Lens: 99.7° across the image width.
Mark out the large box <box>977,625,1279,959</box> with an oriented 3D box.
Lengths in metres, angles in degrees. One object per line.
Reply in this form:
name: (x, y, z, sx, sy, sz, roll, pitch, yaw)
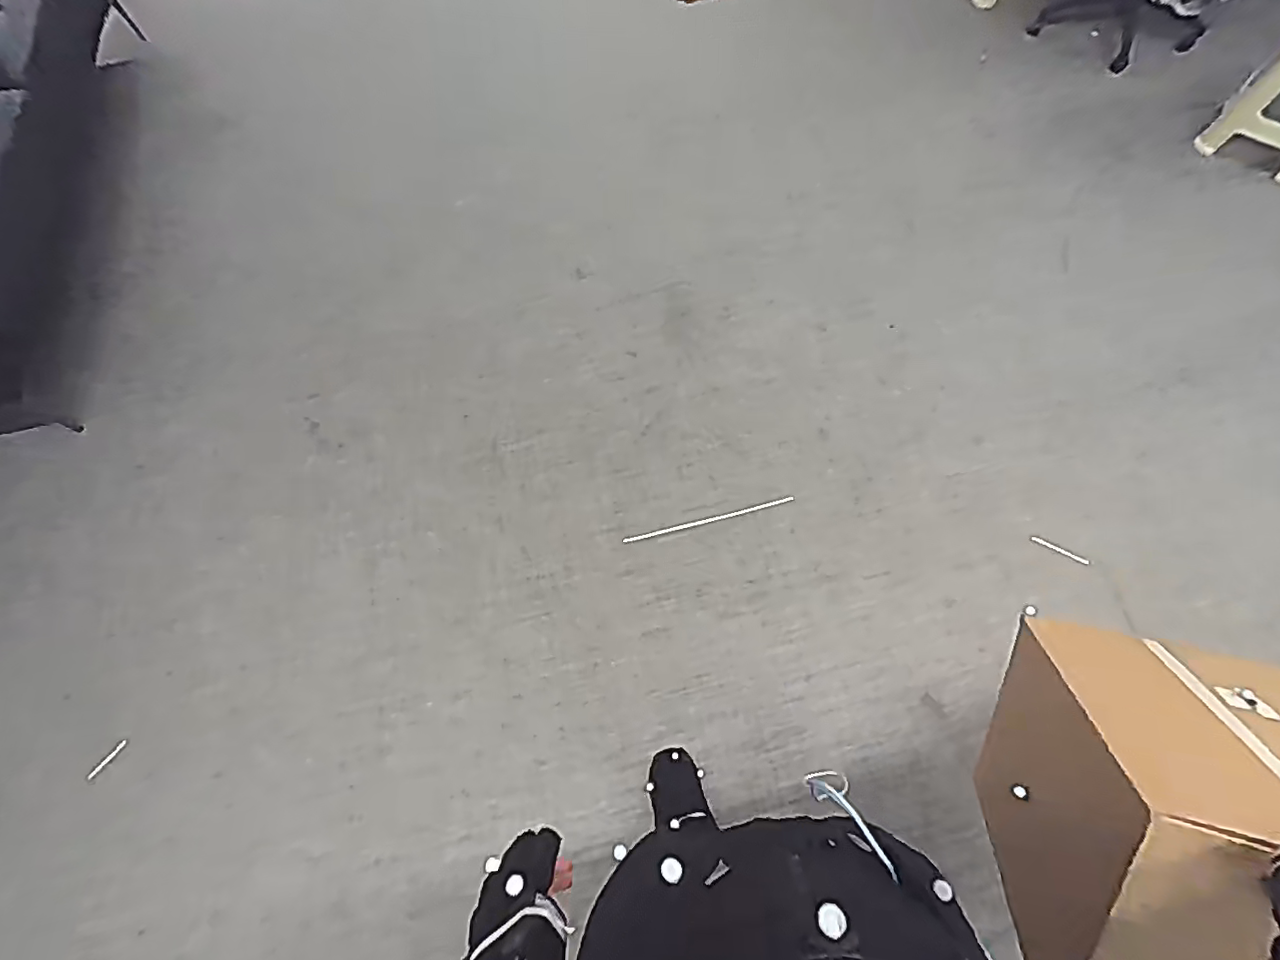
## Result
large box: (0.657, 0.437, 0.655, 0.320, 0.408, 0.320, 12, 106, 18)
